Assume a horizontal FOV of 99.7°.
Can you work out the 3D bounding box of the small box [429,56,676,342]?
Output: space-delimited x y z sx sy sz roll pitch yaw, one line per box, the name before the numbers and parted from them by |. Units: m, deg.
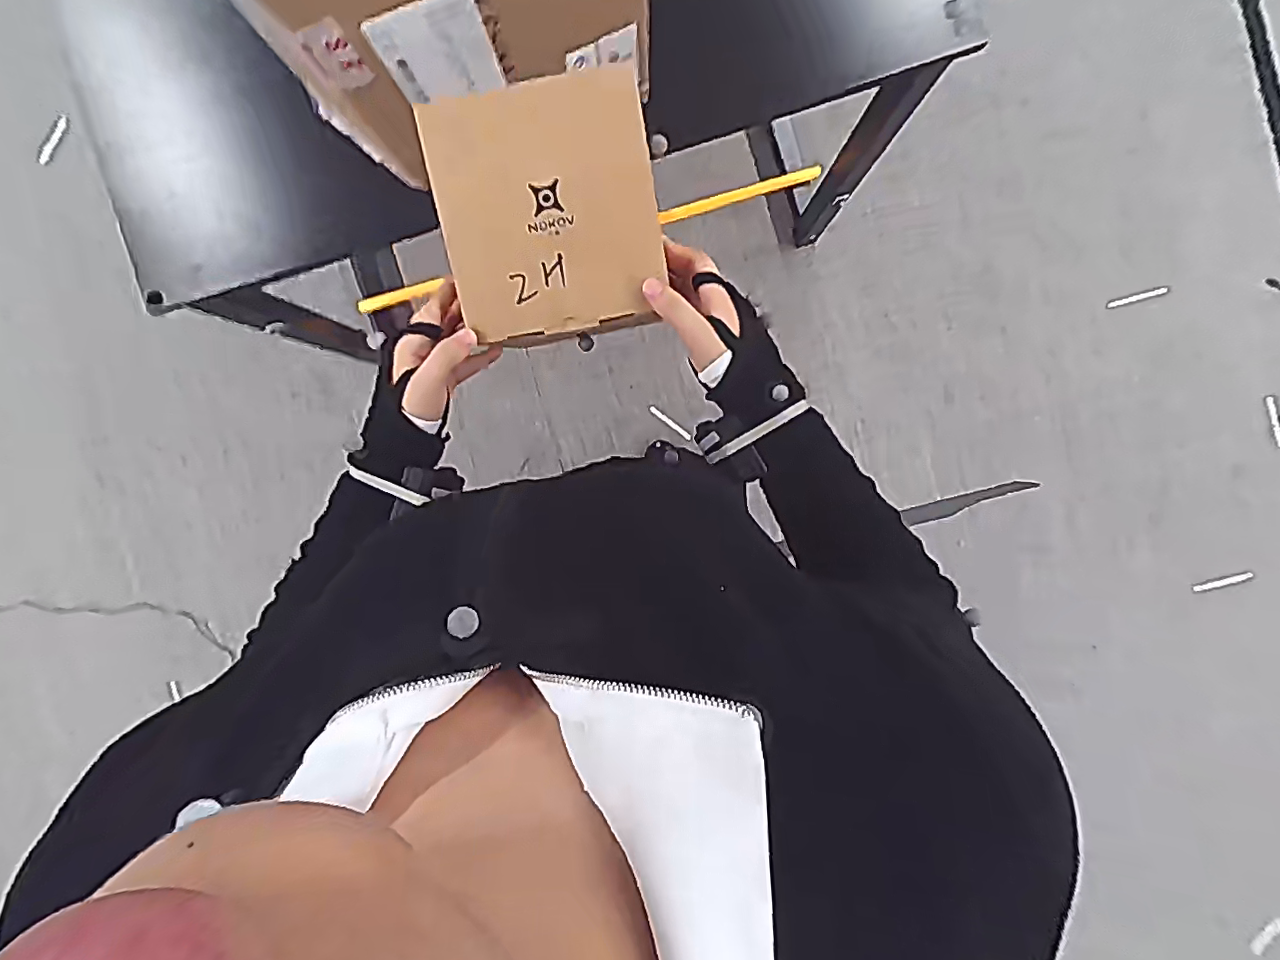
small box | -0.064 -0.229 0.490 0.168 0.176 0.179 -9 102 3
